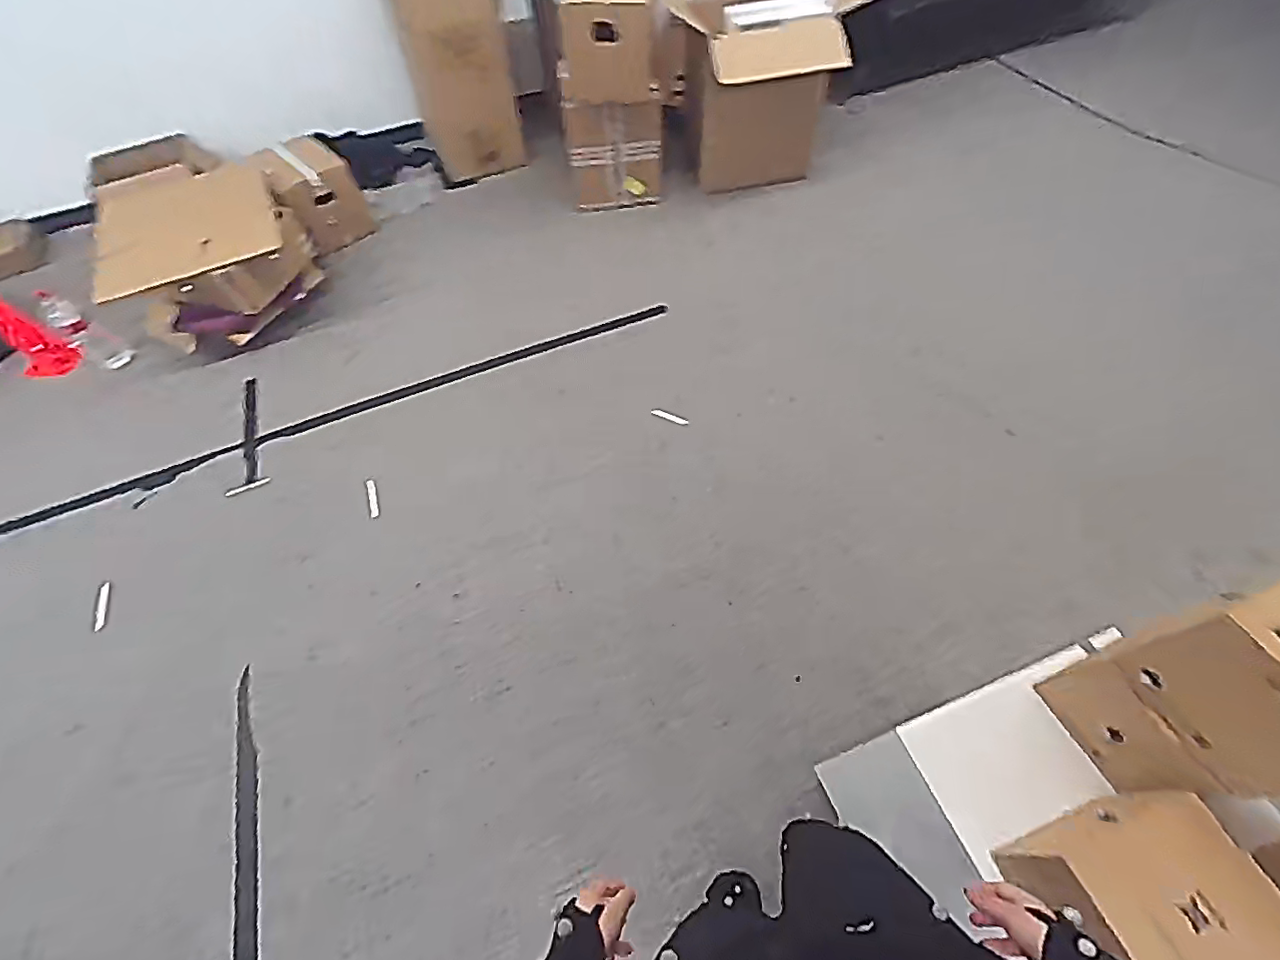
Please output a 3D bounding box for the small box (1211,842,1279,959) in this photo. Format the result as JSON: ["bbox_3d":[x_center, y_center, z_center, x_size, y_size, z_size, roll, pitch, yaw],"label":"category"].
[{"bbox_3d":[0.777,0.490,0.564,0.179,0.176,0.168,-18,57,-7],"label":"small box"}]

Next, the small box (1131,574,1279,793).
[{"bbox_3d":[0.675,0.201,0.558,0.179,0.176,0.168,-22,59,-9],"label":"small box"}]
